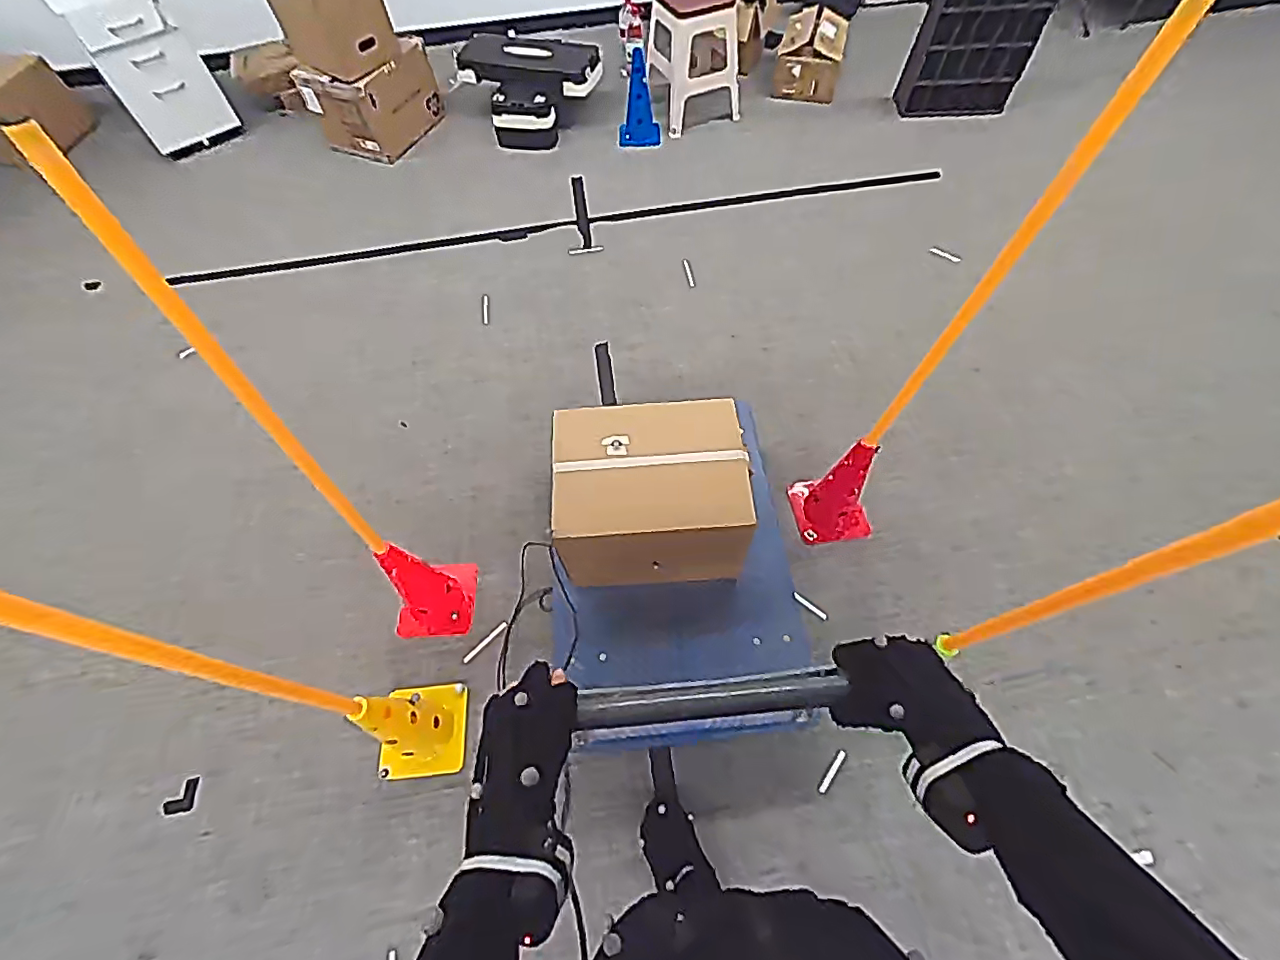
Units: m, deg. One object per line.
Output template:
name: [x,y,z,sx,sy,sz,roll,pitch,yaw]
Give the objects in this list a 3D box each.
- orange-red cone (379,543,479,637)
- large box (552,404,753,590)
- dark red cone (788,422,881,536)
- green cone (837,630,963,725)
orange-red cone: [-0.557,0.245,1.346,0.198,0.360,0.199,-2,58,1]
large box: [0.023,0.053,1.262,0.408,0.320,0.320,-5,60,1]
dark red cone: [0.543,-0.018,1.423,0.201,0.394,0.202,-8,60,-4]
green cone: [0.600,0.403,1.190,0.202,0.368,0.200,-5,59,-2]
